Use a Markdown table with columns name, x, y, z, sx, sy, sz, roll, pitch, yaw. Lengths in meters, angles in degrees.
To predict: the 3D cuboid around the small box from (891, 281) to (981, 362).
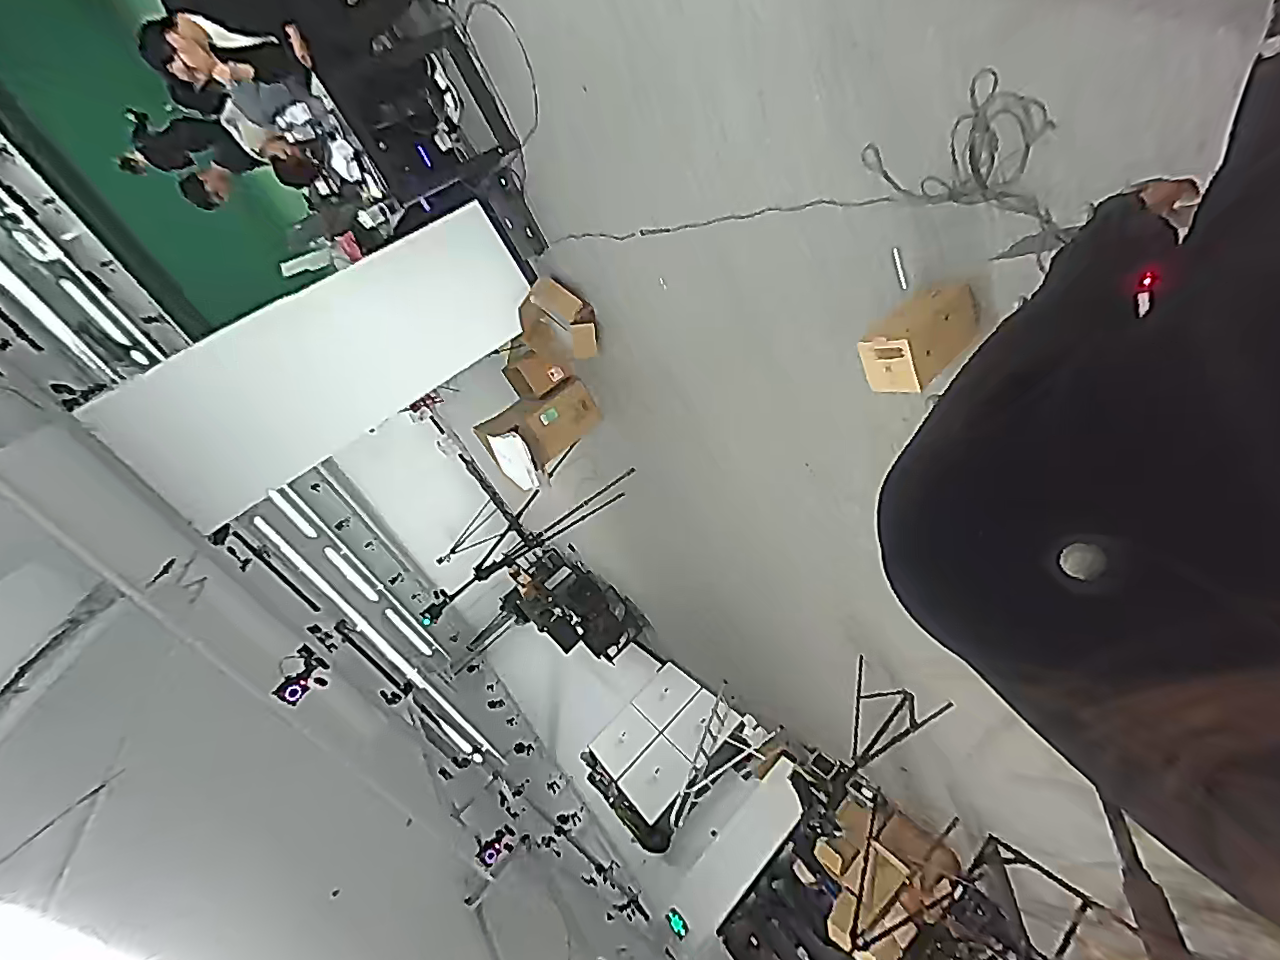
| name | x | y | z | sx | sy | sz | roll | pitch | yaw |
| --- | --- | --- | --- | --- | --- | --- | --- | --- | --- |
| small box | 0.915 | -0.484 | 1.664 | 0.168 | 0.176 | 0.179 | 16 | 142 | 58 |
